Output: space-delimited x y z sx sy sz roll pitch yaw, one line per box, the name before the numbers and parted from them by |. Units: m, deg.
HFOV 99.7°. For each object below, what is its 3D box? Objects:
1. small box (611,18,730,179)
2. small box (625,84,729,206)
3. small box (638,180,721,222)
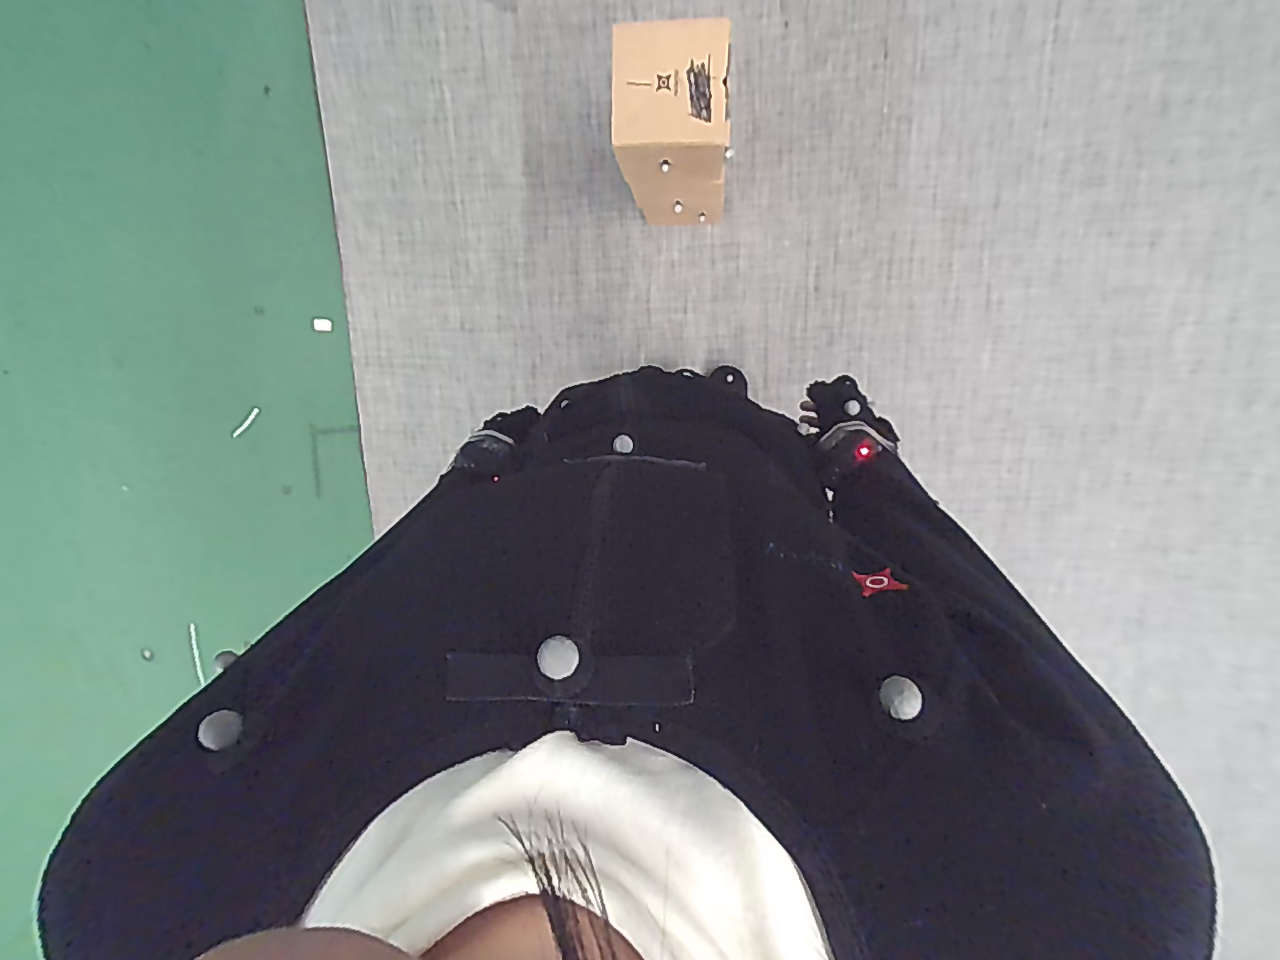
small box | 0.050 -0.608 0.884 0.179 0.176 0.168 0 103 5
small box | 0.071 -0.642 1.043 0.179 0.176 0.168 5 103 5
small box | 0.090 -0.684 1.201 0.179 0.176 0.168 1 102 8
